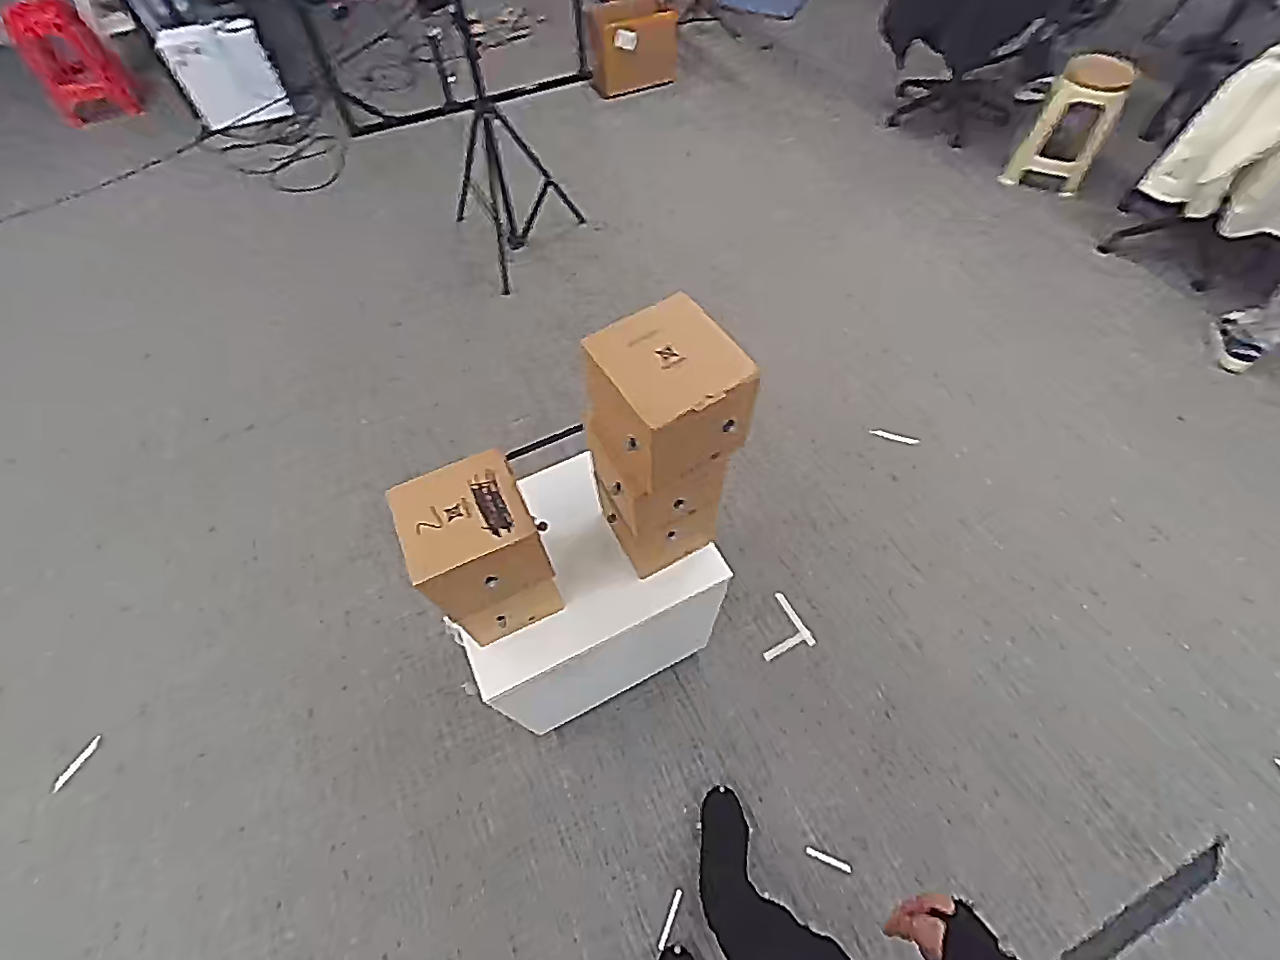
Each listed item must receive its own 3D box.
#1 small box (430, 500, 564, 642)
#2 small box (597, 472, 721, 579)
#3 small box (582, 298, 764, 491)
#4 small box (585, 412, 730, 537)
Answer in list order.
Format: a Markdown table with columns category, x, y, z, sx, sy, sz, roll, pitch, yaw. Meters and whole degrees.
| category | x | y | z | sx | sy | sz | roll | pitch | yaw |
| --- | --- | --- | --- | --- | --- | --- | --- | --- | --- |
| small box | -0.248 | 0.172 | 0.967 | 0.168 | 0.176 | 0.179 | -23 | 61 | -12 |
| small box | 0.033 | 0.058 | 1.024 | 0.168 | 0.176 | 0.179 | -26 | 61 | -12 |
| small box | 0.042 | -0.107 | 0.740 | 0.168 | 0.176 | 0.179 | -30 | 62 | -15 |
| small box | 0.028 | -0.027 | 0.882 | 0.168 | 0.176 | 0.179 | -25 | 62 | -13 |
